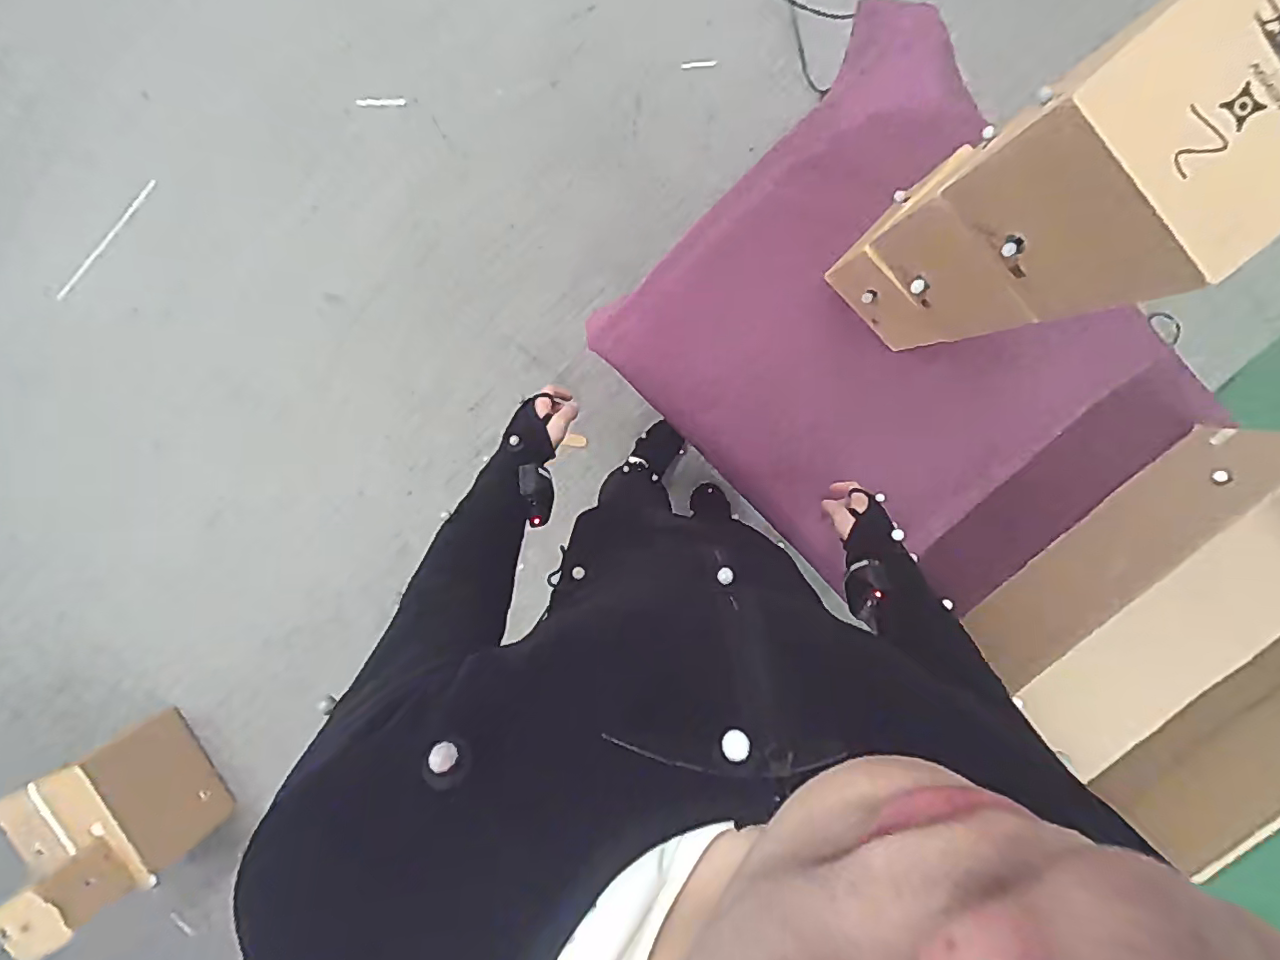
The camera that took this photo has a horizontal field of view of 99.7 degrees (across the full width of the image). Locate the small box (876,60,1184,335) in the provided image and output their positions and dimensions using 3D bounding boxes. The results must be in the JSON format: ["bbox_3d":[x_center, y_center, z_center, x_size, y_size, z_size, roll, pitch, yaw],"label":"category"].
[{"bbox_3d":[0.401,-0.284,0.592,0.179,0.176,0.168,-41,94,7],"label":"small box"}]

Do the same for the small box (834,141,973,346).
[{"bbox_3d":[0.398,-0.309,0.754,0.168,0.176,0.179,45,96,-4],"label":"small box"}]

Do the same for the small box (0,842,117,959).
[{"bbox_3d":[-1.536,1.099,1.410,0.179,0.176,0.168,-32,95,4],"label":"small box"}]
